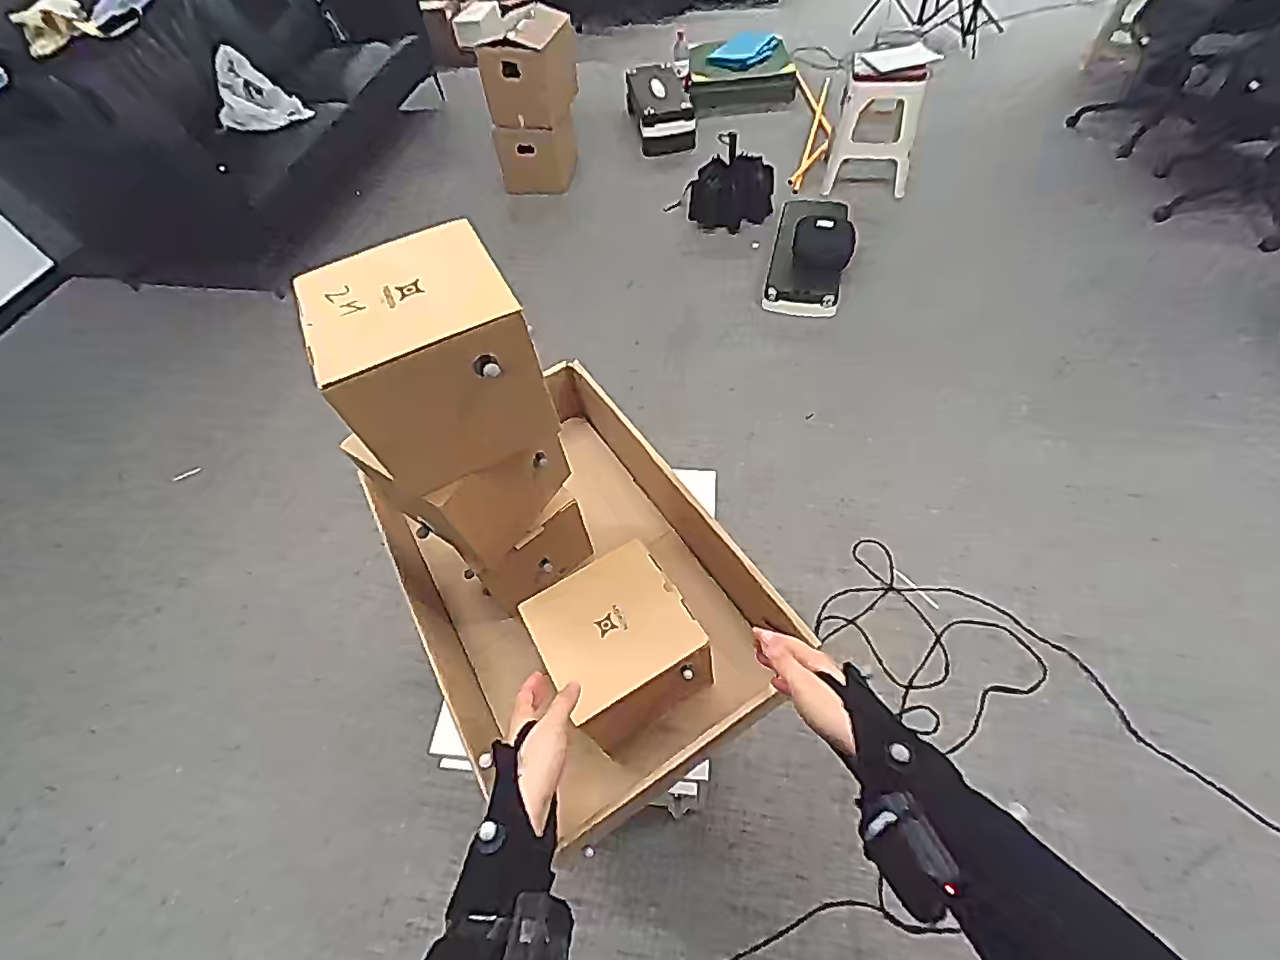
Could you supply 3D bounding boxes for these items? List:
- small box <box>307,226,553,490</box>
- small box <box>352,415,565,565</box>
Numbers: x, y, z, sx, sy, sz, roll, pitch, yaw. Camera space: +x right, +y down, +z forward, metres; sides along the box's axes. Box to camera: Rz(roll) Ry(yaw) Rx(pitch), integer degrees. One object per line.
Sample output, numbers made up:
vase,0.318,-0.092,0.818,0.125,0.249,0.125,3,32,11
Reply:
small box,-0.203,-0.121,0.561,0.179,0.176,0.168,-26,57,-10
small box,-0.214,-0.024,0.696,0.168,0.176,0.179,25,65,22
